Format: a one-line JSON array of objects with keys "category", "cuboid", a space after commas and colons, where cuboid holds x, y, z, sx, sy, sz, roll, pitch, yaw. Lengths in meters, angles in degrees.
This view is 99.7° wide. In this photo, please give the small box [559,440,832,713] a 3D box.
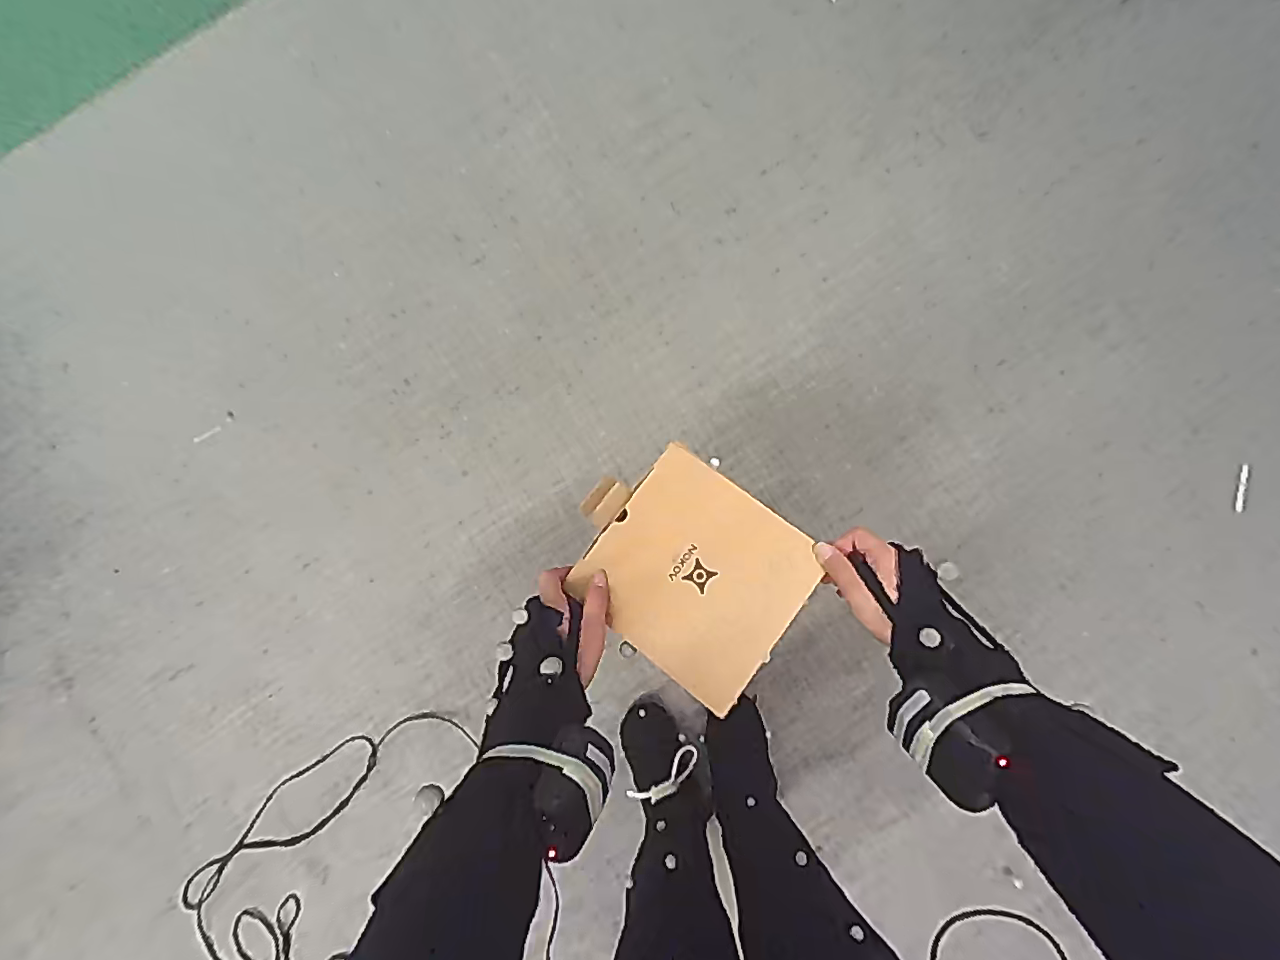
[{"category": "small box", "cuboid": [0.053, 0.090, 0.534, 0.179, 0.176, 0.168, 36, 84, 12]}]
